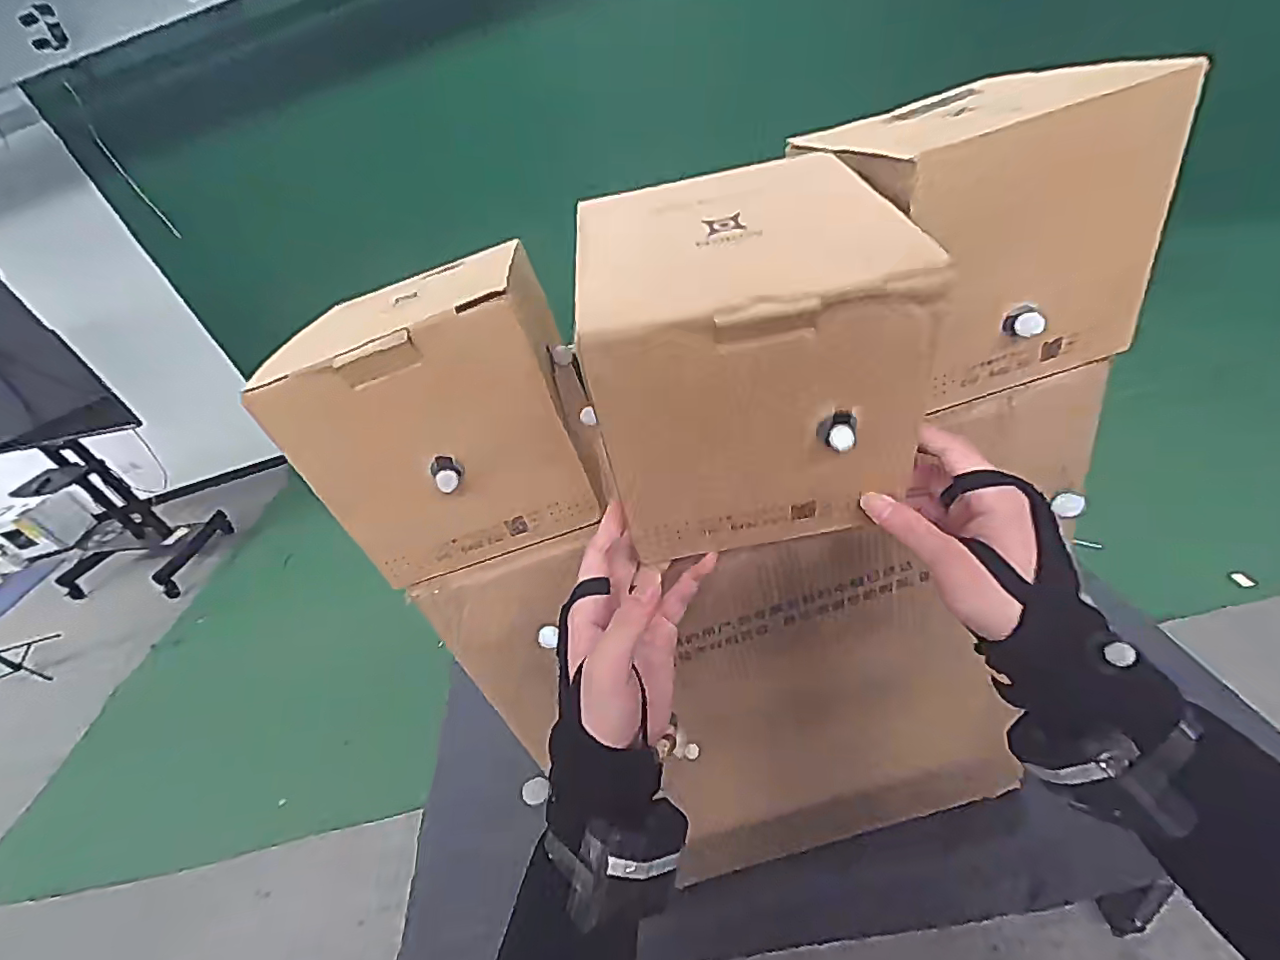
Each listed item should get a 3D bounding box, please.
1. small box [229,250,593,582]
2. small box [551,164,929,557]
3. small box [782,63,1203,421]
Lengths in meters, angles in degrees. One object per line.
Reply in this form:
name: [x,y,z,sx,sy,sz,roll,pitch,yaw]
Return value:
small box: [-0.141,-0.045,0.410,0.168,0.176,0.179,-19,34,3]
small box: [0.051,-0.068,0.340,0.168,0.176,0.179,-10,42,4]
small box: [0.217,-0.168,0.390,0.168,0.176,0.179,-18,35,2]
